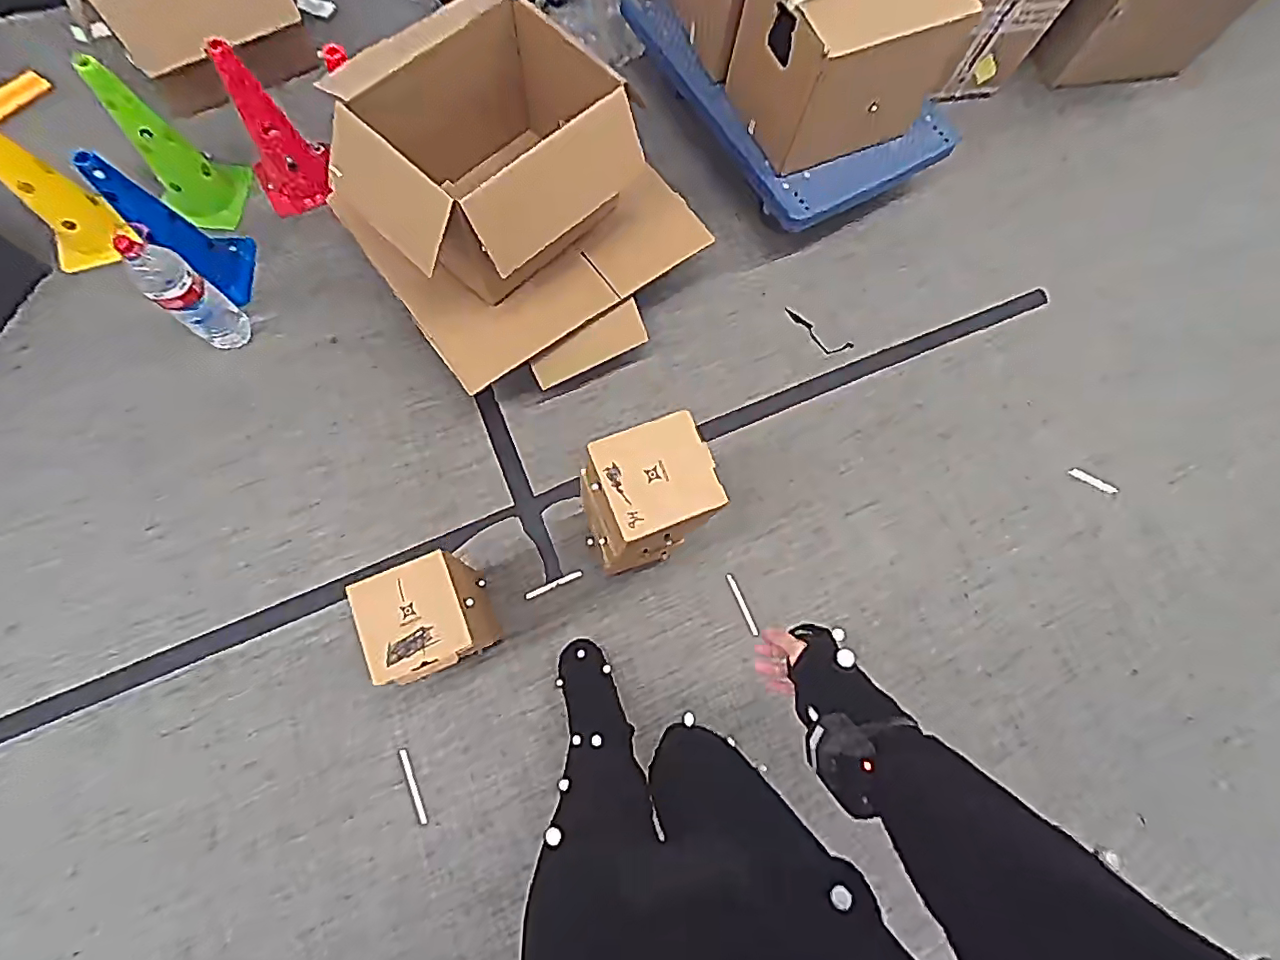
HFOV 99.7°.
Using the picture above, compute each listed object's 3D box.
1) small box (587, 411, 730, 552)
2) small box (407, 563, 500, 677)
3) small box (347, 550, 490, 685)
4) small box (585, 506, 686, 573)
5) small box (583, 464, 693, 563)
[{"bbox_3d":[0.020,0.009,0.898,0.179,0.176,0.168,-20,79,-12],"label":"small box"},{"bbox_3d":[-0.404,0.287,1.126,0.179,0.176,0.168,-25,78,-10],"label":"small box"},{"bbox_3d":[-0.385,0.244,0.969,0.168,0.176,0.179,-22,77,-10],"label":"small box"},{"bbox_3d":[-0.019,0.099,1.209,0.179,0.176,0.168,-18,77,-10],"label":"small box"},{"bbox_3d":[-0.009,0.047,1.055,0.168,0.176,0.179,-22,79,-11],"label":"small box"}]
